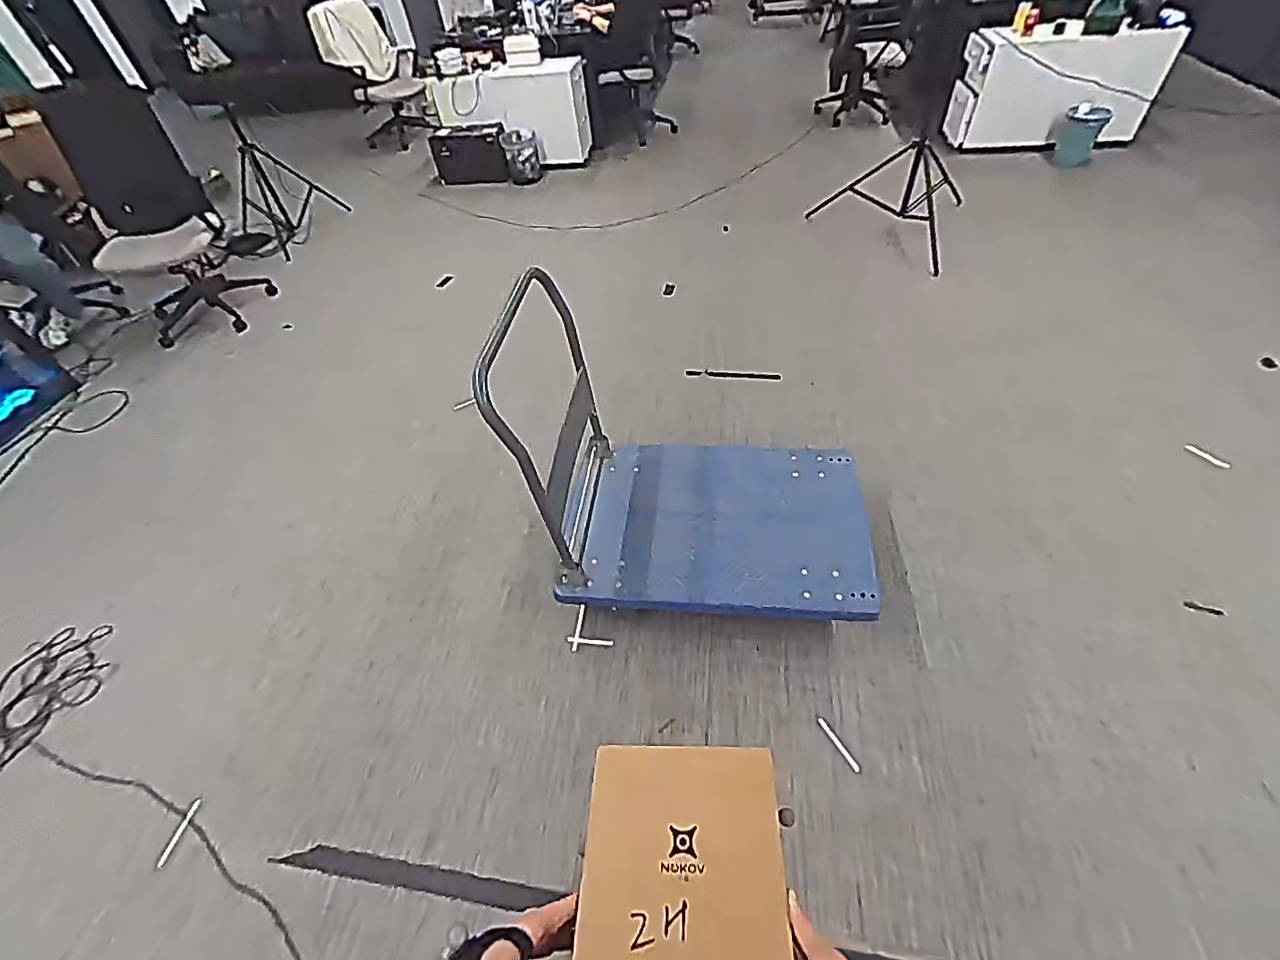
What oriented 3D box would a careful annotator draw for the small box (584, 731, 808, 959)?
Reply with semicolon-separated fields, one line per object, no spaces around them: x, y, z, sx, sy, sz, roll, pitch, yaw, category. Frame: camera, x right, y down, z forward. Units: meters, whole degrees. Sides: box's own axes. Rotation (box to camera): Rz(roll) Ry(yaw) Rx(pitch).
0.053;0.357;0.501;0.168;0.176;0.179;-4;42;8;small box
